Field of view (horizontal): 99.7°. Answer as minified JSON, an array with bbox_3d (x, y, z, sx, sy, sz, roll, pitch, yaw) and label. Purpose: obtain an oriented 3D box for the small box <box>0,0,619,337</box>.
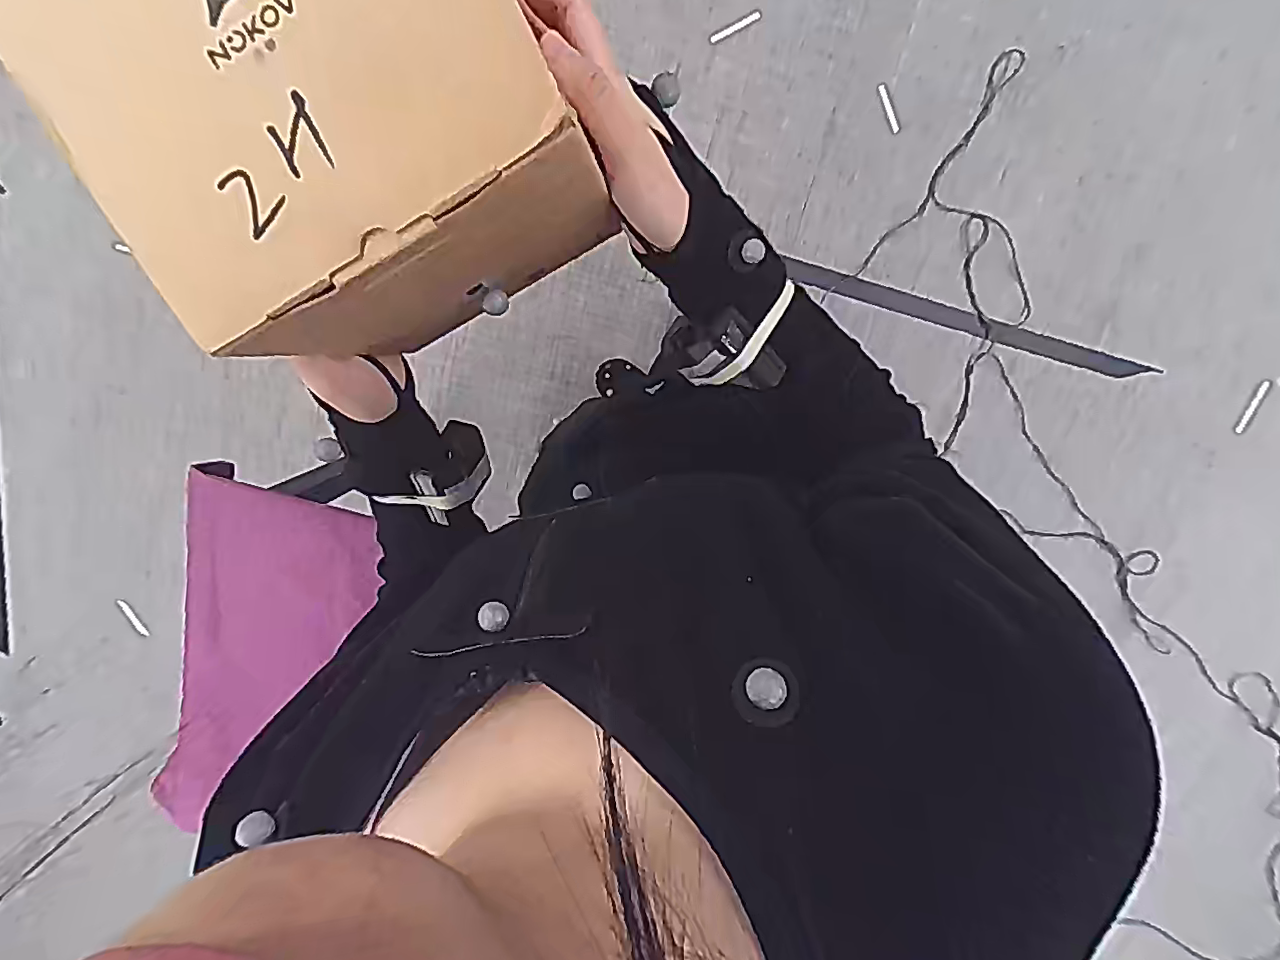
[{"bbox_3d":[-0.122,-0.180,0.252,0.168,0.176,0.179,-26,101,9],"label":"small box"}]
